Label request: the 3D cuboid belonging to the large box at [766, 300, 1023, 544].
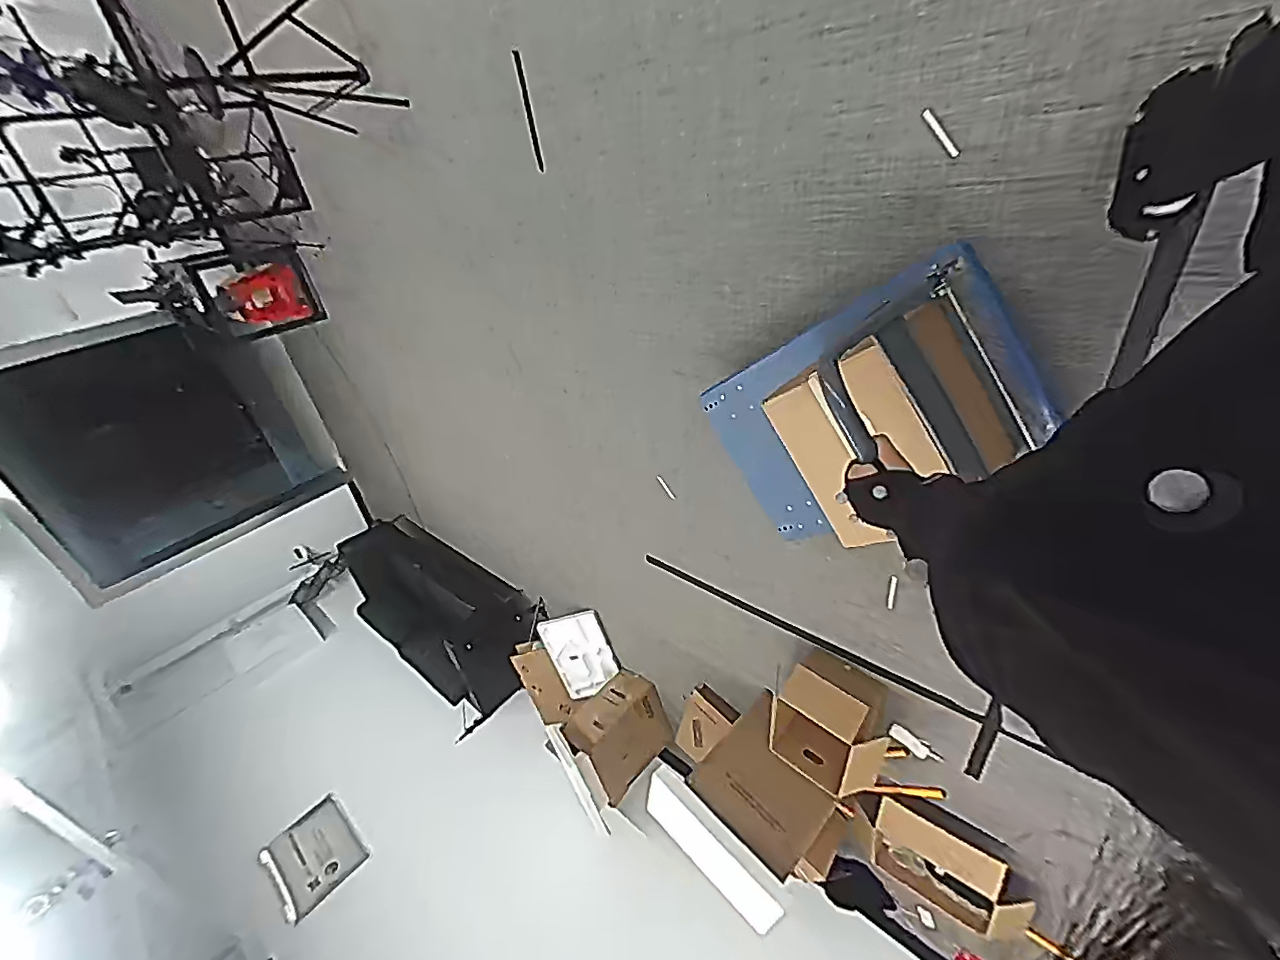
[{"bbox_3d":[0.574,-0.122,1.224,0.320,0.320,0.408,-26,96,54],"label":"large box"}]
